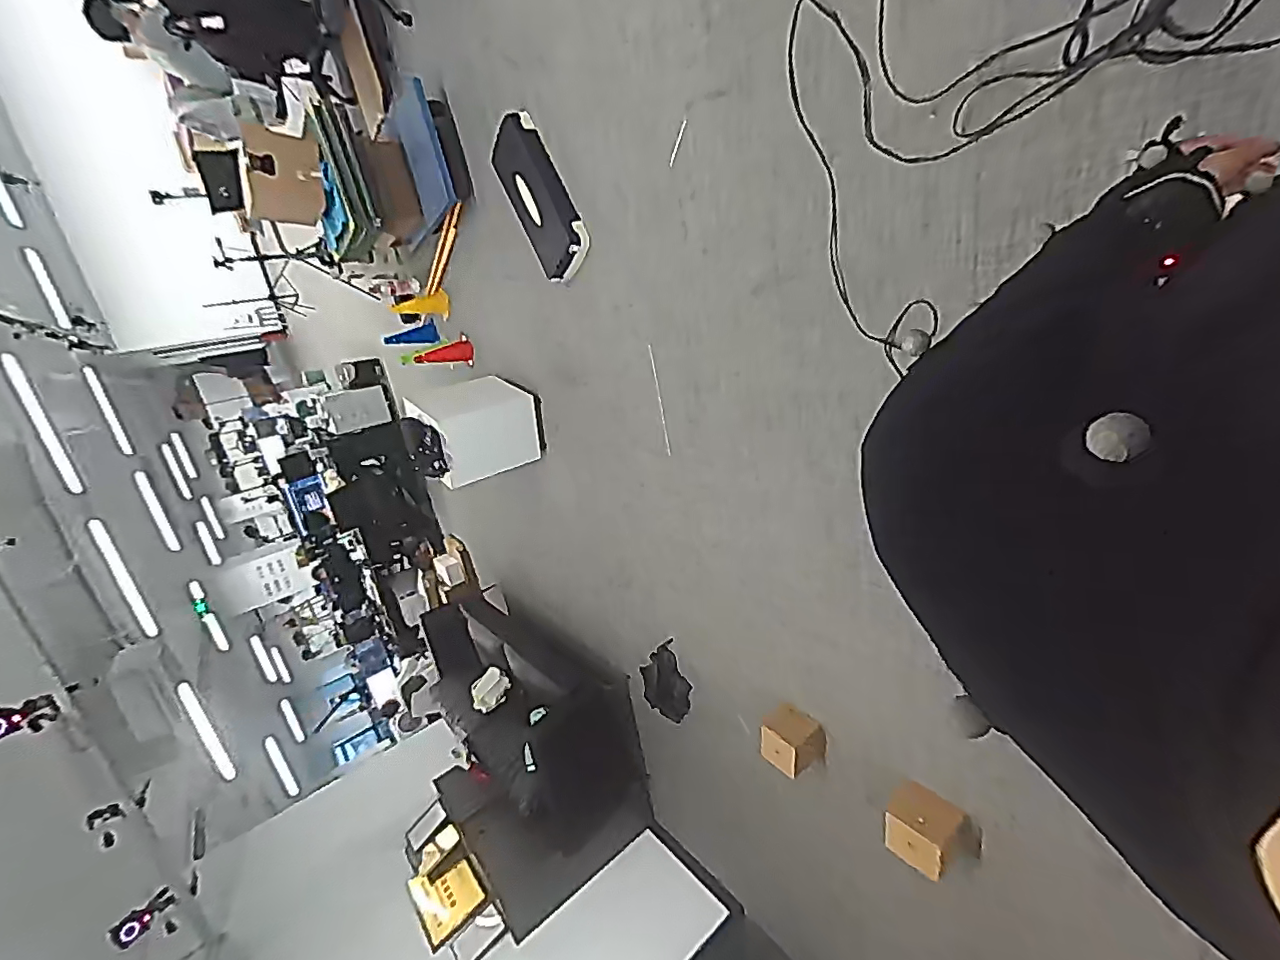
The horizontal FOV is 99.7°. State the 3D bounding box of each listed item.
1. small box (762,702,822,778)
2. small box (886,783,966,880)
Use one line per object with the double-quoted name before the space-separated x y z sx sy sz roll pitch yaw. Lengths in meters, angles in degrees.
"small box" 0.610 1.033 2.165 0.168 0.176 0.179 23 128 49
"small box" 0.932 1.133 1.765 0.179 0.176 0.168 16 122 50
